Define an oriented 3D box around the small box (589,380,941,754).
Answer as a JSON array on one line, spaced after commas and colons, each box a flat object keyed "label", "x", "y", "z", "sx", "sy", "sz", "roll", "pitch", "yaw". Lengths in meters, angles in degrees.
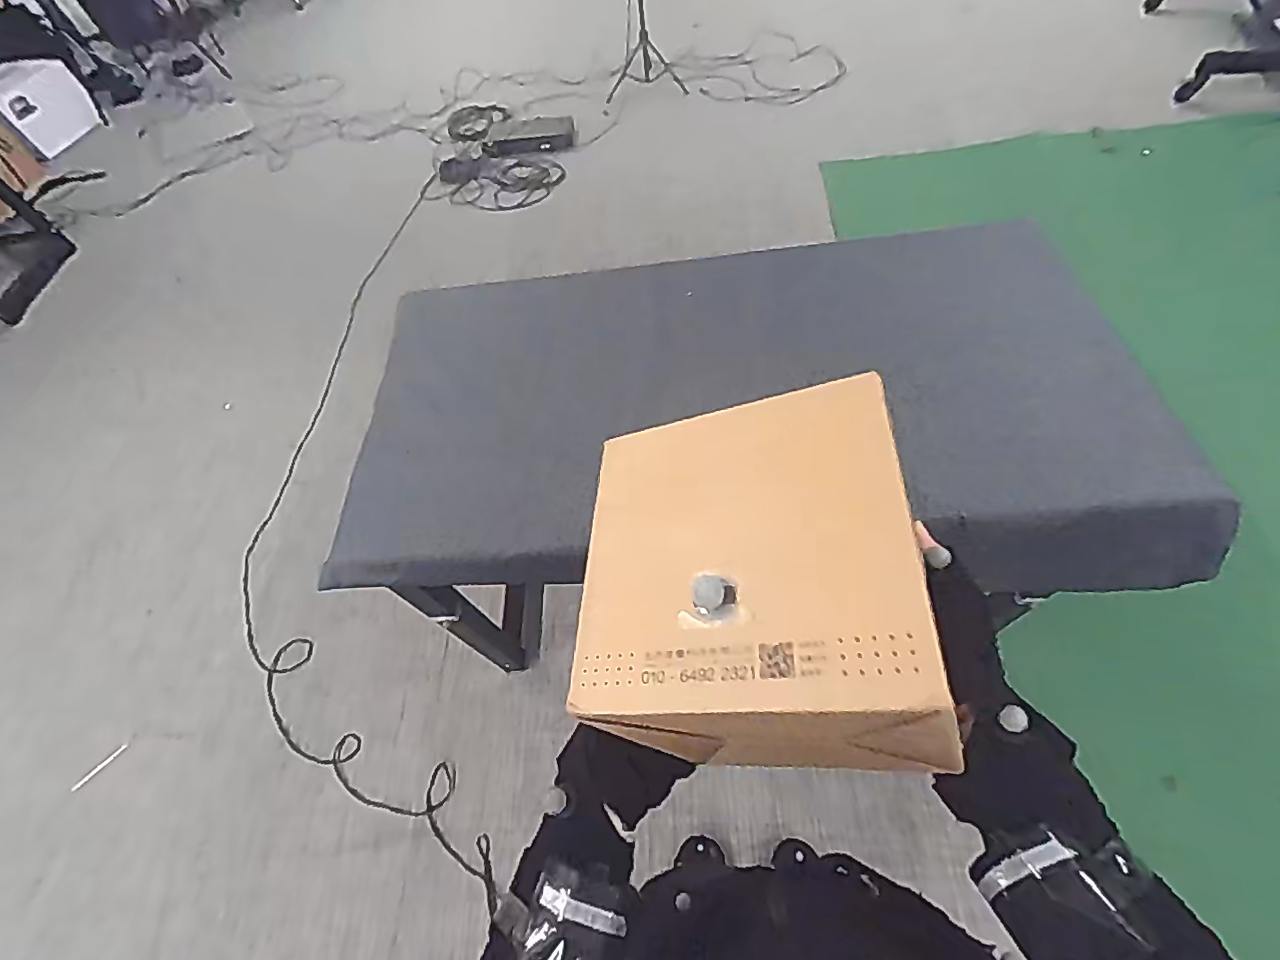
[{"label": "small box", "x": 0.081, "y": 0.073, "z": 0.347, "sx": 0.168, "sy": 0.179, "sz": 0.176, "roll": -14, "pitch": 52, "yaw": 25}]
